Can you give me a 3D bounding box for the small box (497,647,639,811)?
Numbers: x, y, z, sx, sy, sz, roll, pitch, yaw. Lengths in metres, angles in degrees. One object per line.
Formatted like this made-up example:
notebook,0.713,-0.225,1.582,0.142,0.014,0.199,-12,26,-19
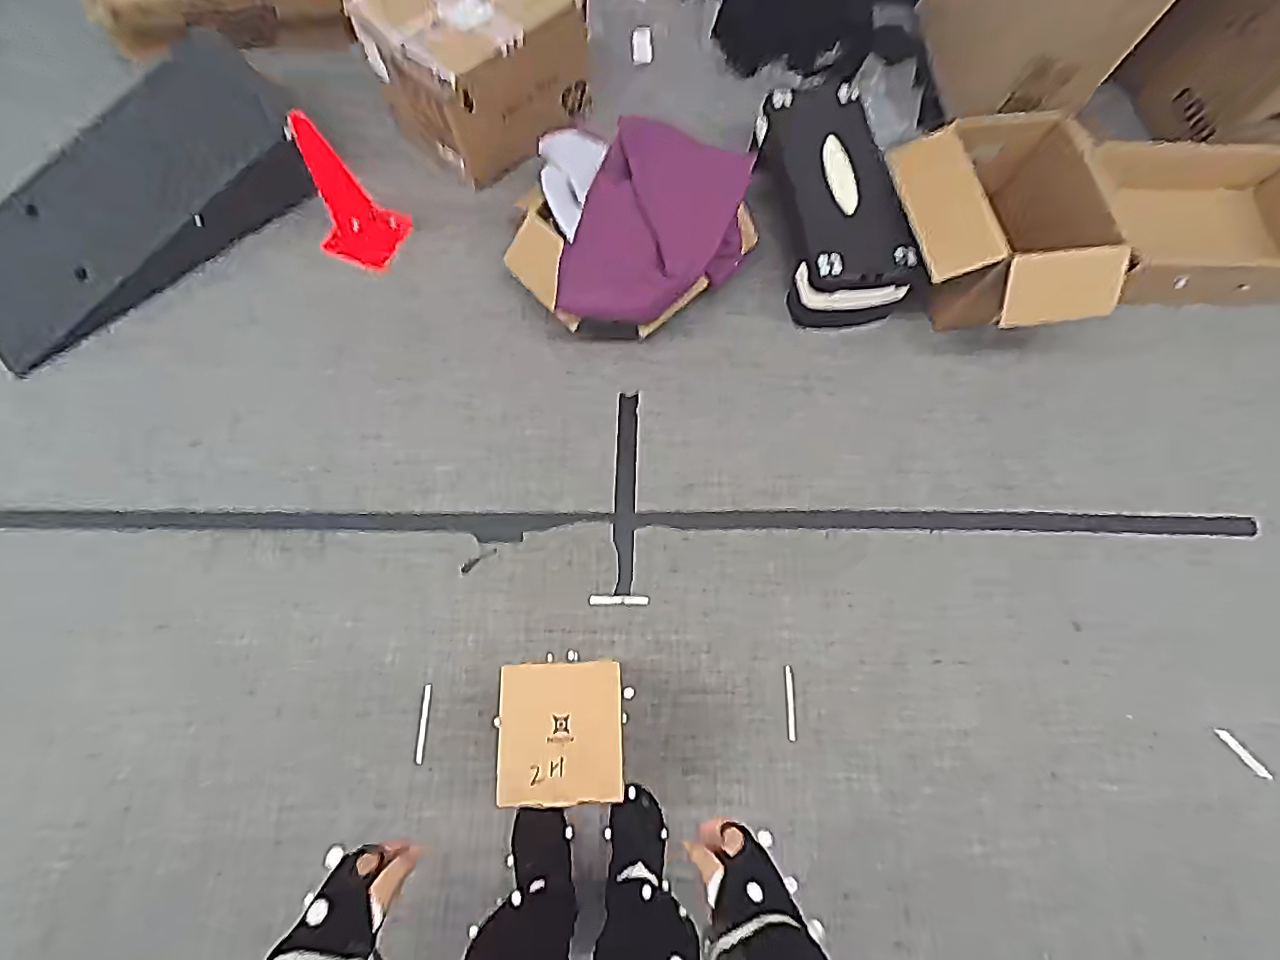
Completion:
small box,-0.088,0.319,0.722,0.168,0.176,0.179,-2,72,-2
